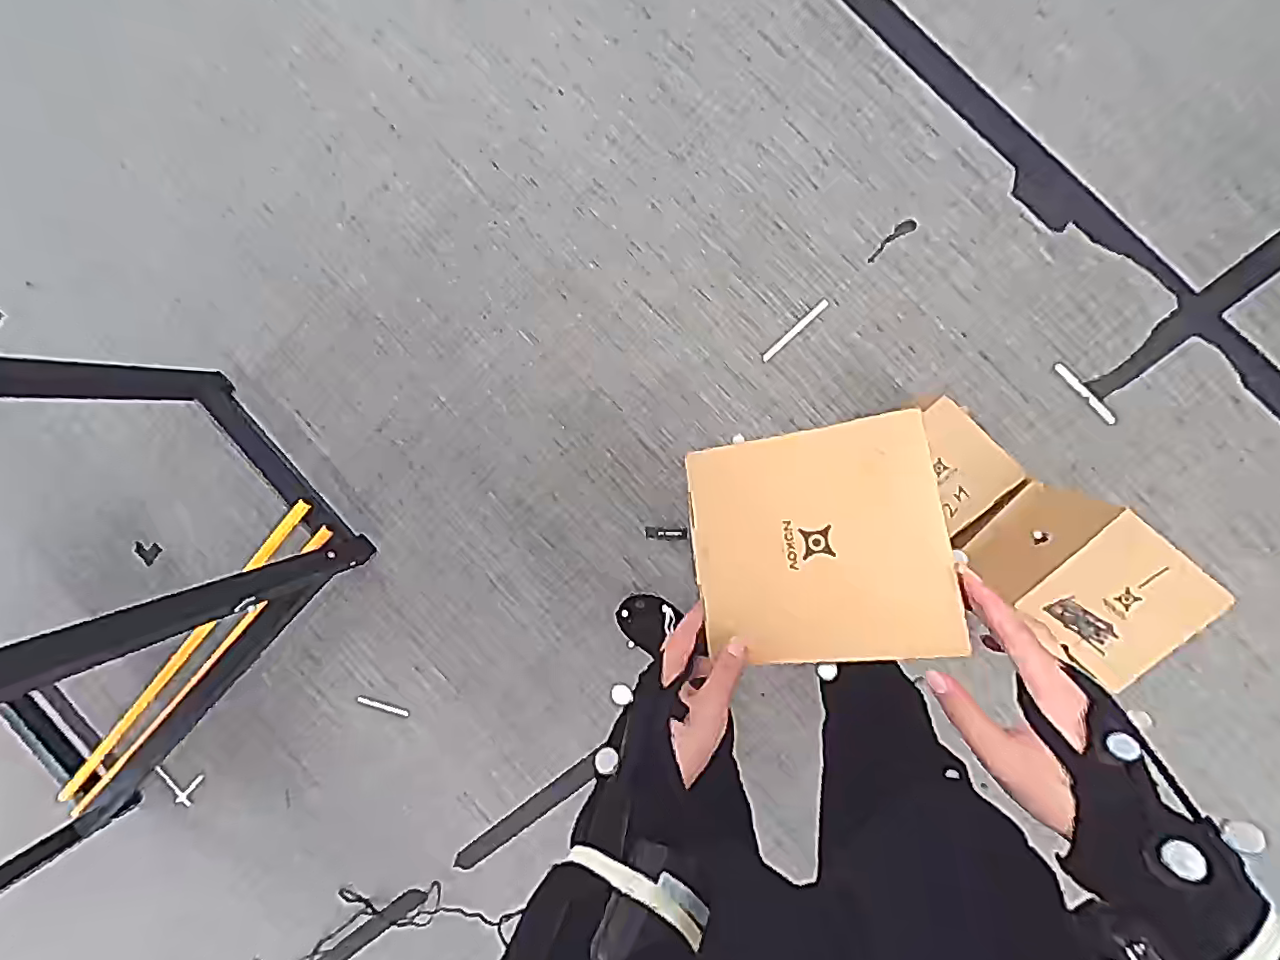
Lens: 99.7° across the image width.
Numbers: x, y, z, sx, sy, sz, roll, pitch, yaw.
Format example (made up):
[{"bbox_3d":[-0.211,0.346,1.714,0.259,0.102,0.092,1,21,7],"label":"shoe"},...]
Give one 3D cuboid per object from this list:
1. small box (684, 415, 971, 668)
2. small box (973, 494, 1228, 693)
[{"bbox_3d":[0.153,0.059,0.456,0.179,0.176,0.168,-11,76,23],"label":"small box"},{"bbox_3d":[0.596,0.142,0.738,0.168,0.176,0.179,42,103,4],"label":"small box"}]
